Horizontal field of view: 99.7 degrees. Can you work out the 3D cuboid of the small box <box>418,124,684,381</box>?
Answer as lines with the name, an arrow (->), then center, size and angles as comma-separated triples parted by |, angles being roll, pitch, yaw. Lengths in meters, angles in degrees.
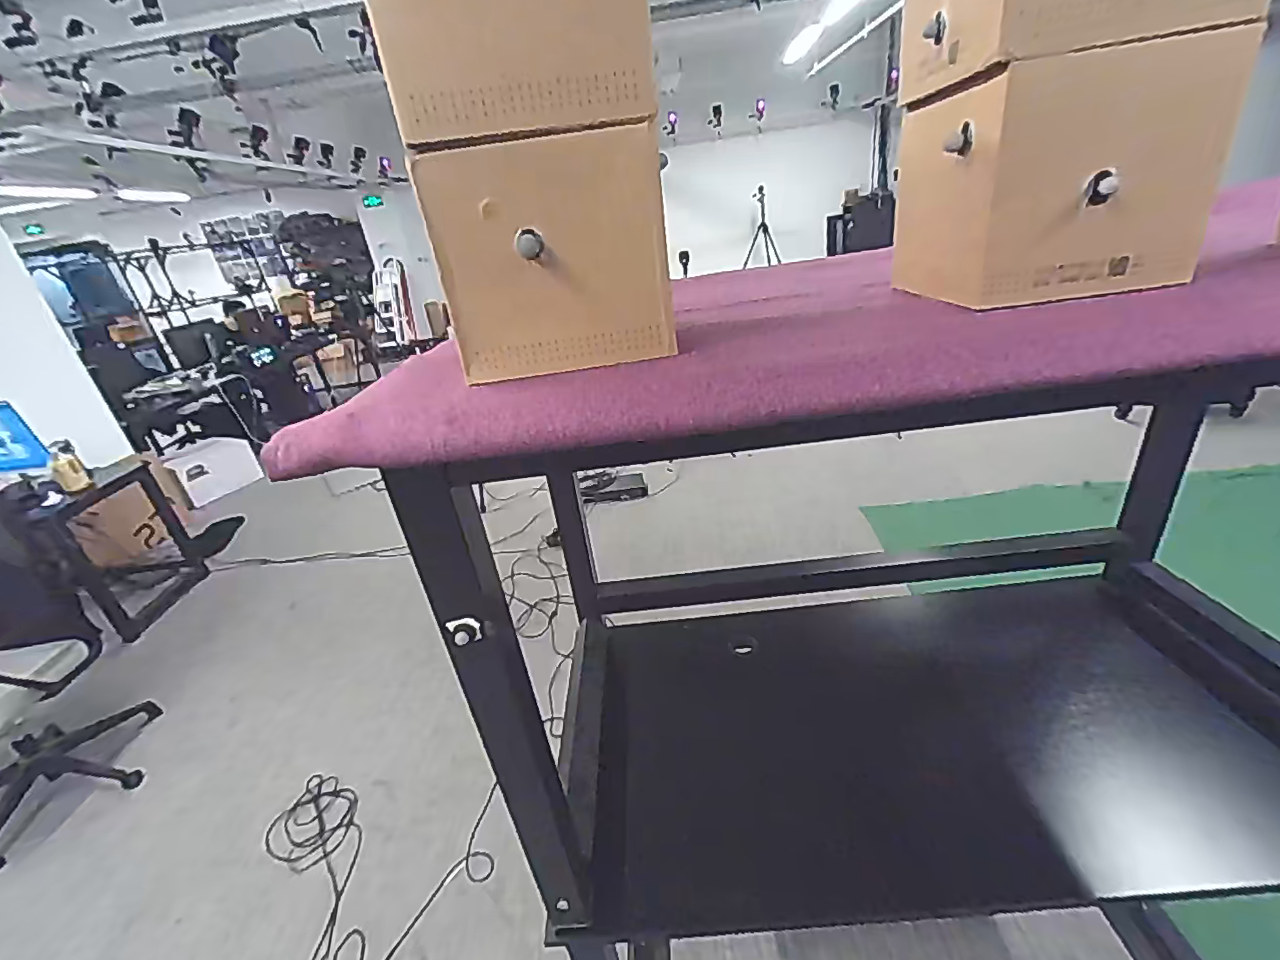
small box -> -0.065, -0.195, 0.482 | 0.179, 0.176, 0.168 | -9, 27, -1

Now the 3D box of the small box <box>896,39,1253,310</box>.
small box -> 0.348, -0.251, 0.480 | 0.168, 0.176, 0.179 | -6, 25, 3

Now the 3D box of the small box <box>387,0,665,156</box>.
small box -> -0.084, -0.341, 0.409 | 0.179, 0.176, 0.168 | -8, 27, -4
